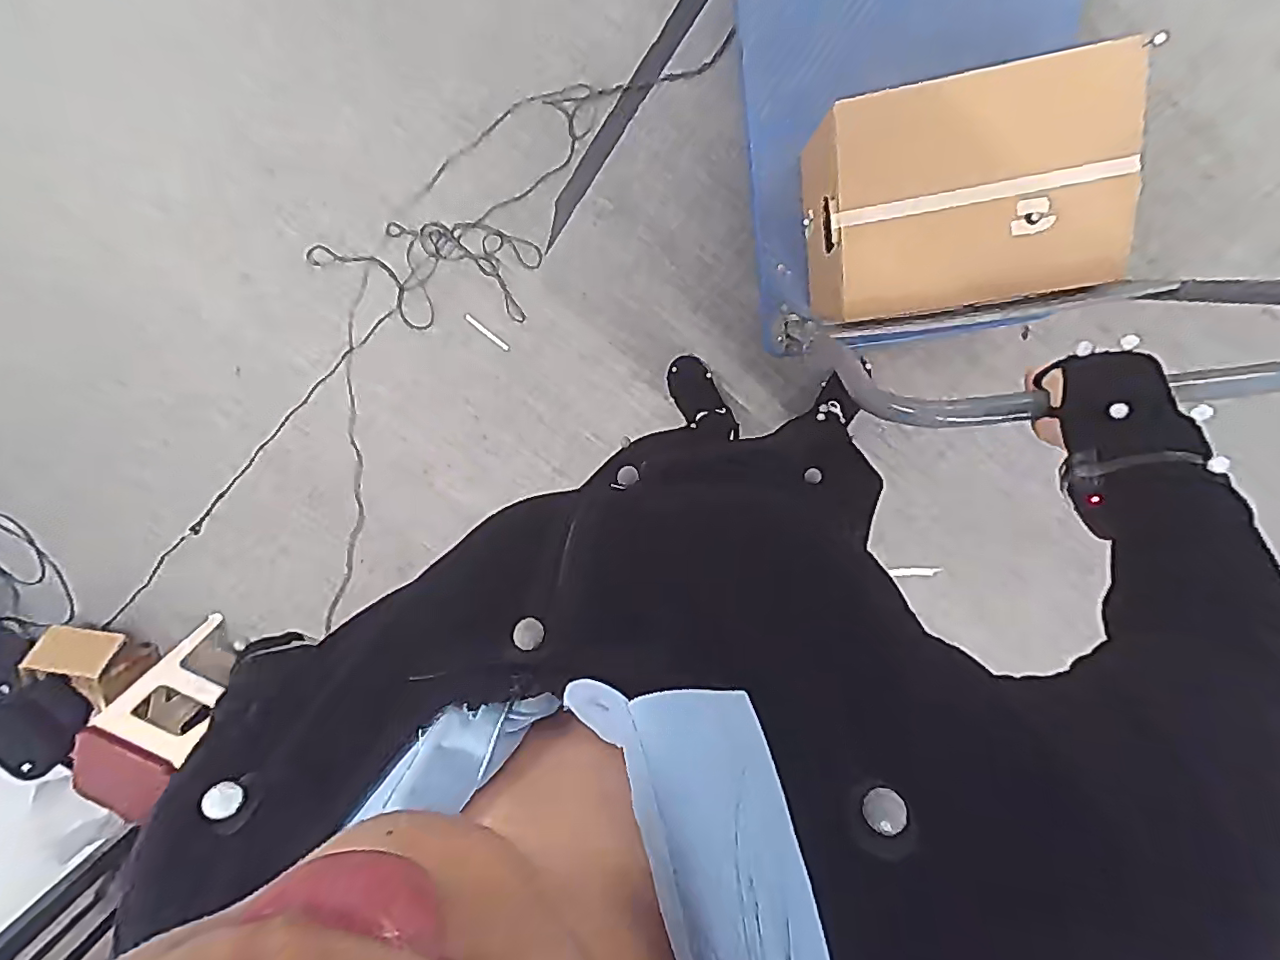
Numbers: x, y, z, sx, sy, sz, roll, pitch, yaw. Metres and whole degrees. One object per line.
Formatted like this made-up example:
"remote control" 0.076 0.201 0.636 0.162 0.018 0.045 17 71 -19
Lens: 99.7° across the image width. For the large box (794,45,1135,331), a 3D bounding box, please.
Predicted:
"large box" 0.503 -0.453 0.929 0.408 0.320 0.320 -7 109 9
